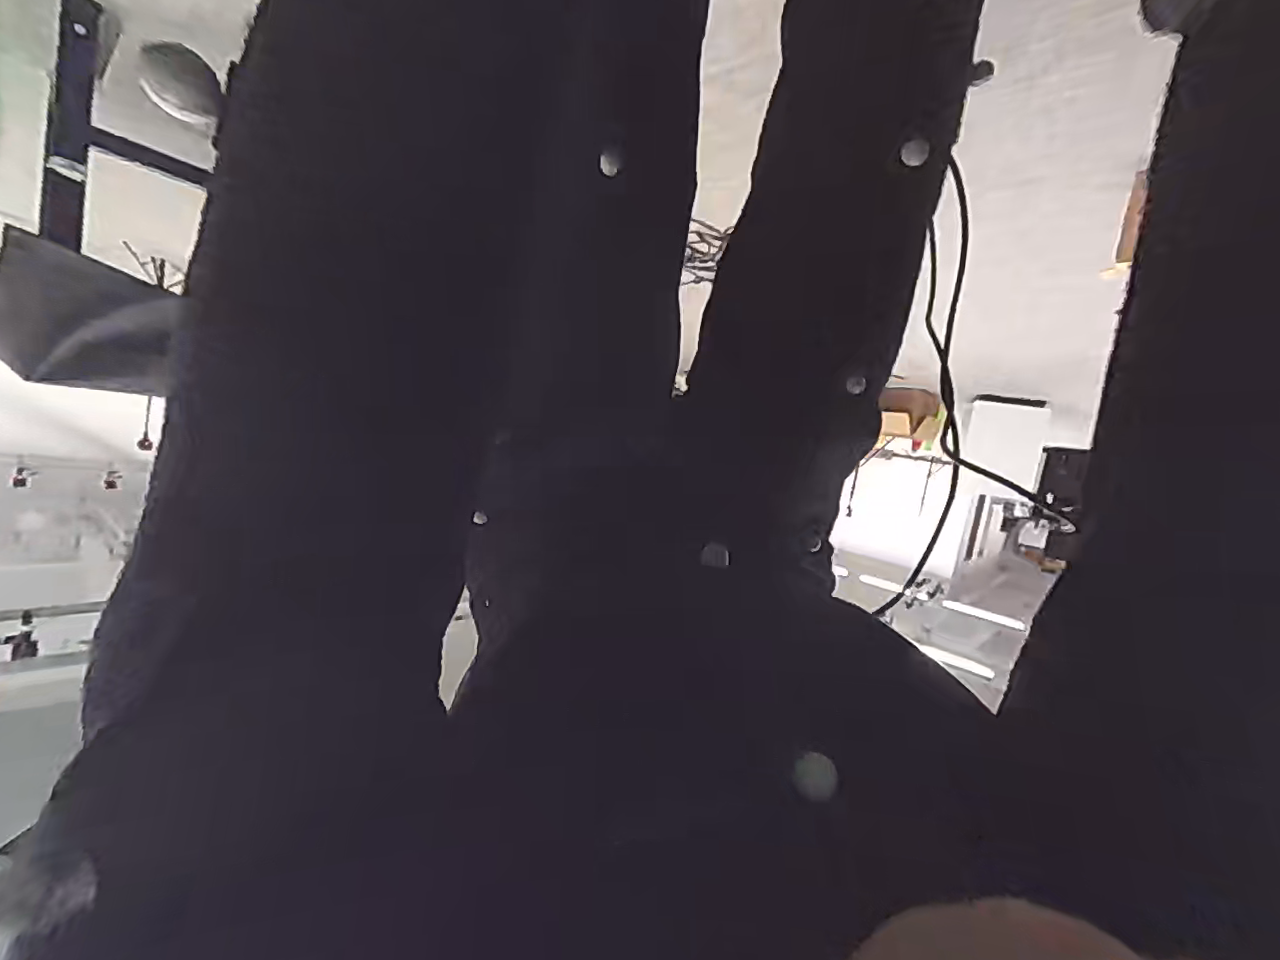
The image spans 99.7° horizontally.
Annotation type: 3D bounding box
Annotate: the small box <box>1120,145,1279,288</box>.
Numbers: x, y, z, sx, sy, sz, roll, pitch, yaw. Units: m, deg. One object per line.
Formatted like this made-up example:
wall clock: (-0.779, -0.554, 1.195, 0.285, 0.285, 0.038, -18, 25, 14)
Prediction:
small box: (1.011, -0.458, 0.960, 0.168, 0.176, 0.179, 7, -173, -30)
